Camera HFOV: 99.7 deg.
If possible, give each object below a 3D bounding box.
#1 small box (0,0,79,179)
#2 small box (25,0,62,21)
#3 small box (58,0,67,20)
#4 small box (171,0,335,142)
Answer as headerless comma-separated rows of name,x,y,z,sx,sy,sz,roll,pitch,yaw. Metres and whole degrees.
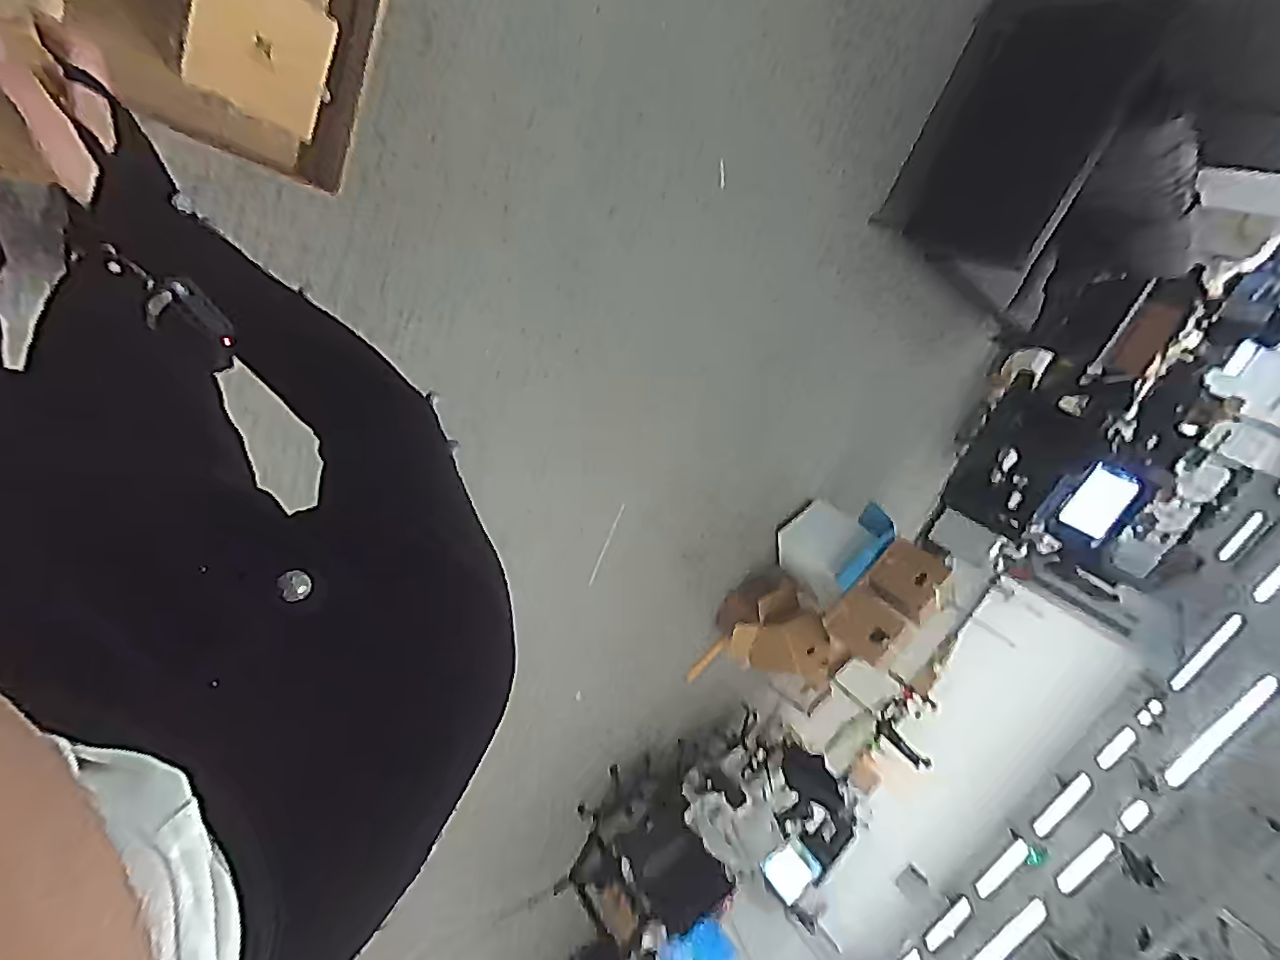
small box,-0.557,-0.350,0.389,0.168,0.176,0.179,-21,90,-39
small box,-0.787,-0.687,0.630,0.168,0.176,0.179,8,115,-48
small box,-0.886,-0.771,0.728,0.168,0.176,0.179,8,113,-48
small box,-0.601,-0.666,0.834,0.168,0.176,0.179,8,115,-47
